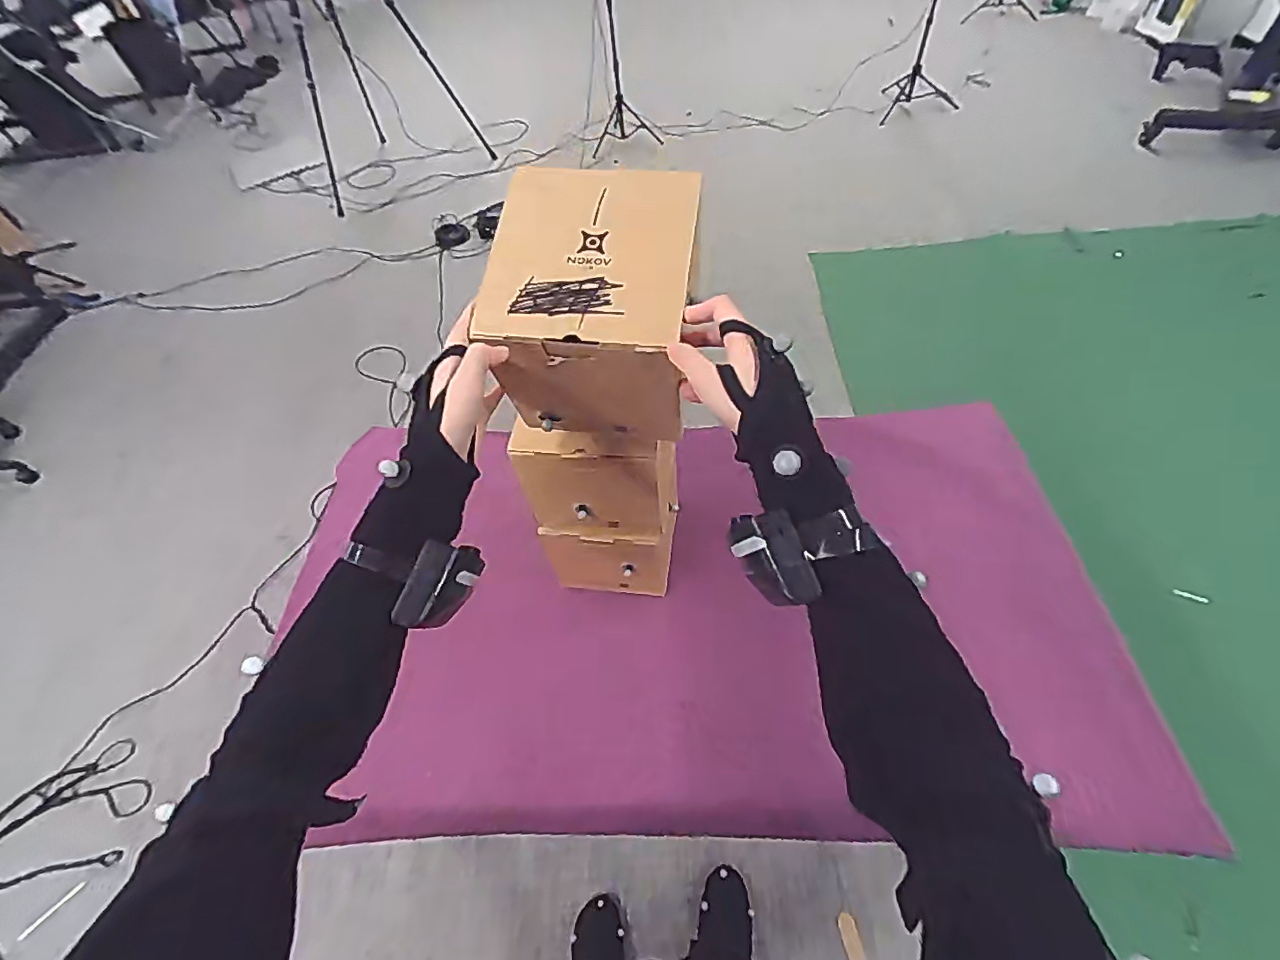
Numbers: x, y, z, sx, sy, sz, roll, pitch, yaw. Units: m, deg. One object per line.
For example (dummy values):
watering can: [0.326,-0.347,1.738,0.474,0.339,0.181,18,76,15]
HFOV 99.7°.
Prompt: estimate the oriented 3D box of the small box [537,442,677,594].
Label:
small box: [-0.036,0.054,0.811,0.168,0.176,0.179,6,54,9]

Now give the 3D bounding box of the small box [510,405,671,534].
small box: [-0.048,-0.050,0.687,0.168,0.176,0.179,3,55,6]

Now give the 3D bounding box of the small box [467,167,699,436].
small box: [-0.035,-0.156,0.508,0.168,0.176,0.179,6,70,7]
